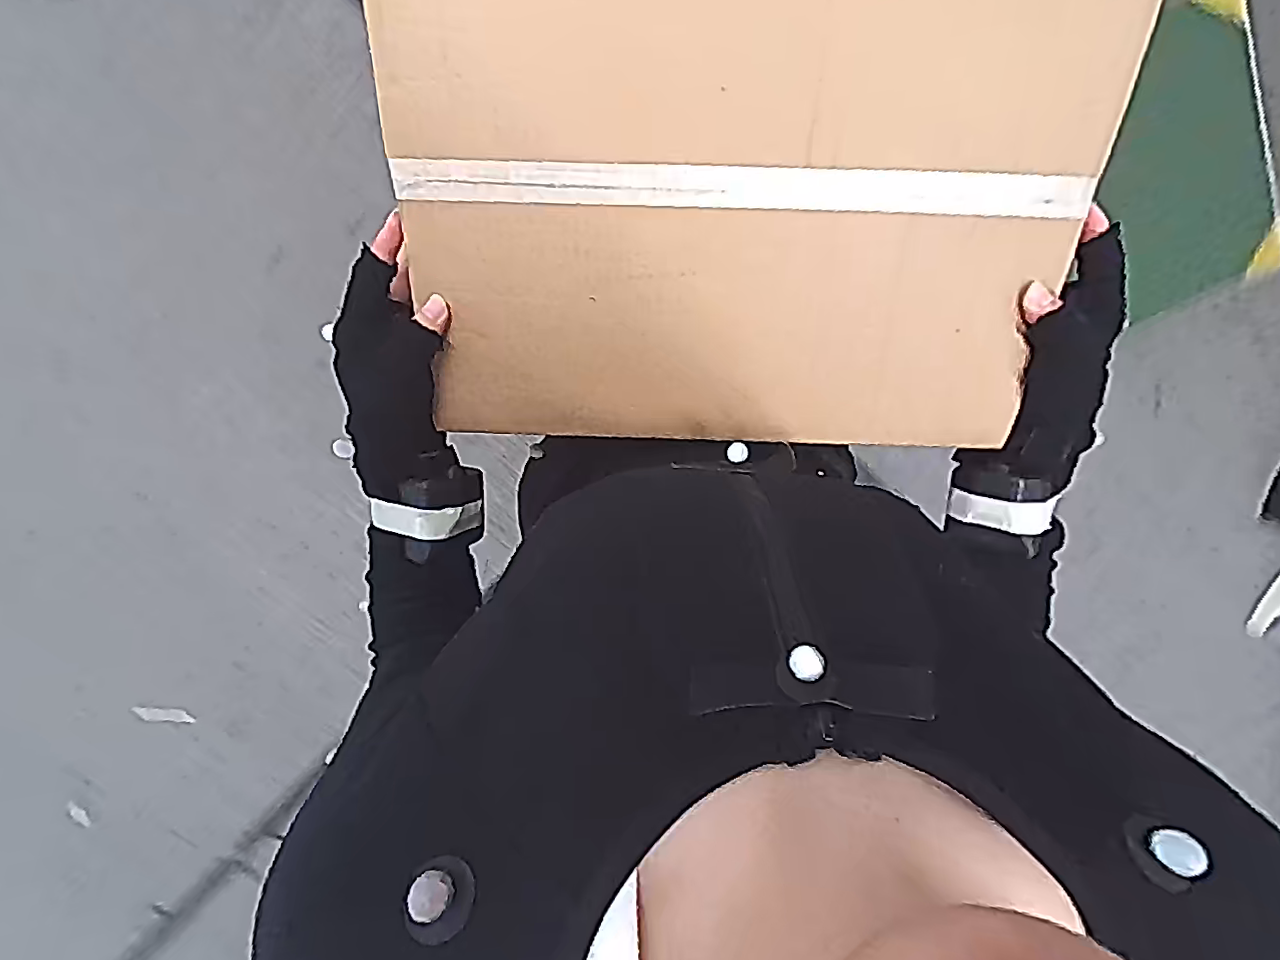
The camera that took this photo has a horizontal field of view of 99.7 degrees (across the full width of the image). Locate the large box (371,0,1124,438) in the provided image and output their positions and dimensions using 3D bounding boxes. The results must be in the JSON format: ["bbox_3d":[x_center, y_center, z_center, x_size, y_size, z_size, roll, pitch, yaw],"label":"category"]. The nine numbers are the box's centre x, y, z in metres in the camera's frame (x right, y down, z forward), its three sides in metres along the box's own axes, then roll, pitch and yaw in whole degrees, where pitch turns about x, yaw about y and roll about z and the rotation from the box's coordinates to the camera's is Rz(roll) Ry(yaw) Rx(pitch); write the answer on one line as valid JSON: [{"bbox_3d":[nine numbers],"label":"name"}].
[{"bbox_3d":[0.055,-0.236,0.460,0.408,0.320,0.320,0,118,0],"label":"large box"}]
